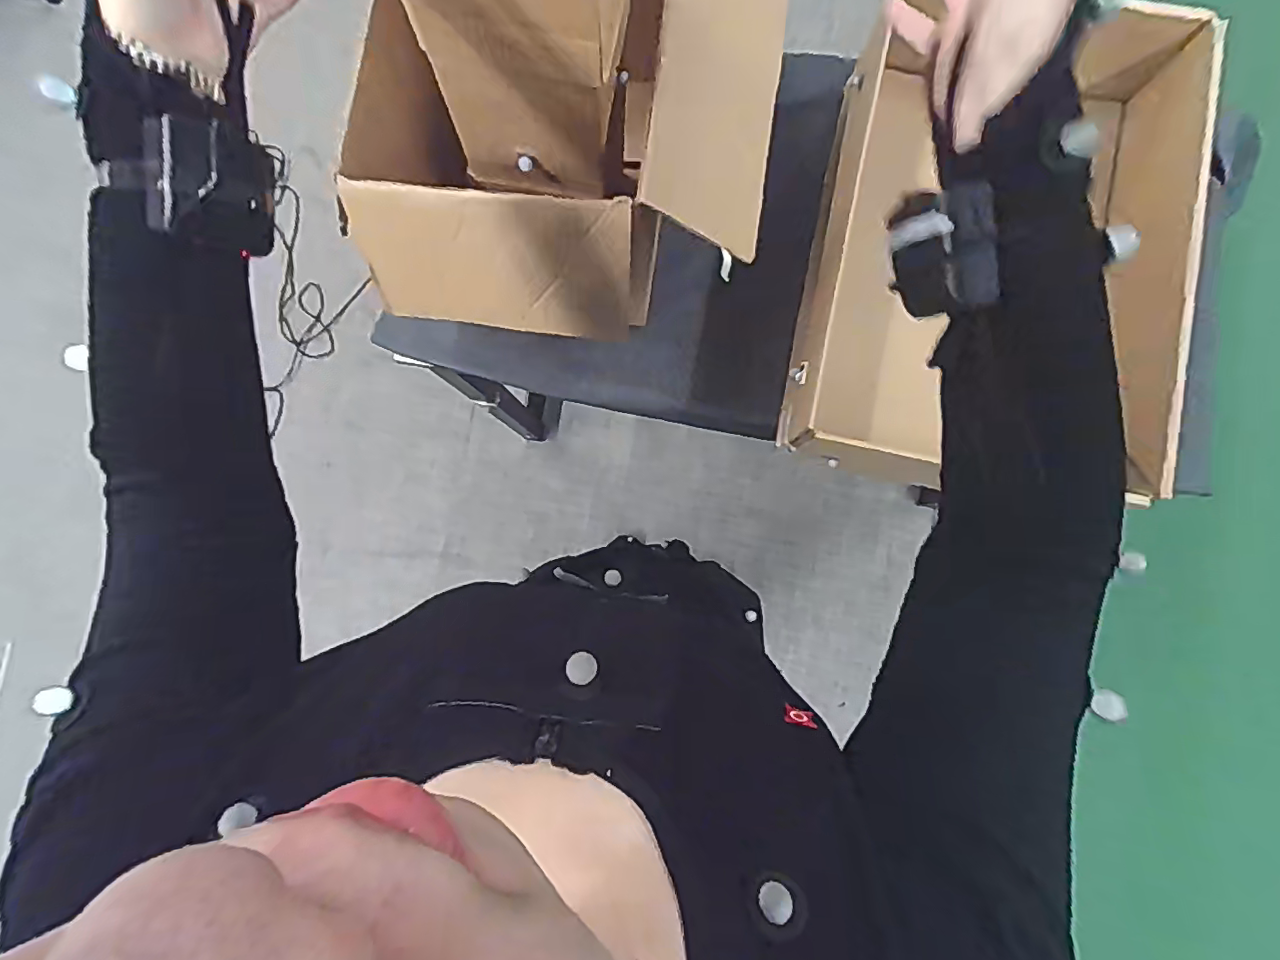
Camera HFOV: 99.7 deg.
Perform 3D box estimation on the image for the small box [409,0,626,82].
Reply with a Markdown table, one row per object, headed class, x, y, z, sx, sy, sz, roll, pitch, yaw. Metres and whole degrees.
| class | x | y | z | sx | sy | sz | roll | pitch | yaw |
| --- | --- | --- | --- | --- | --- | --- | --- | --- | --- |
| small box | -0.099 | -0.467 | 0.432 | 0.179 | 0.176 | 0.168 | 11 | 82 | -2 |
